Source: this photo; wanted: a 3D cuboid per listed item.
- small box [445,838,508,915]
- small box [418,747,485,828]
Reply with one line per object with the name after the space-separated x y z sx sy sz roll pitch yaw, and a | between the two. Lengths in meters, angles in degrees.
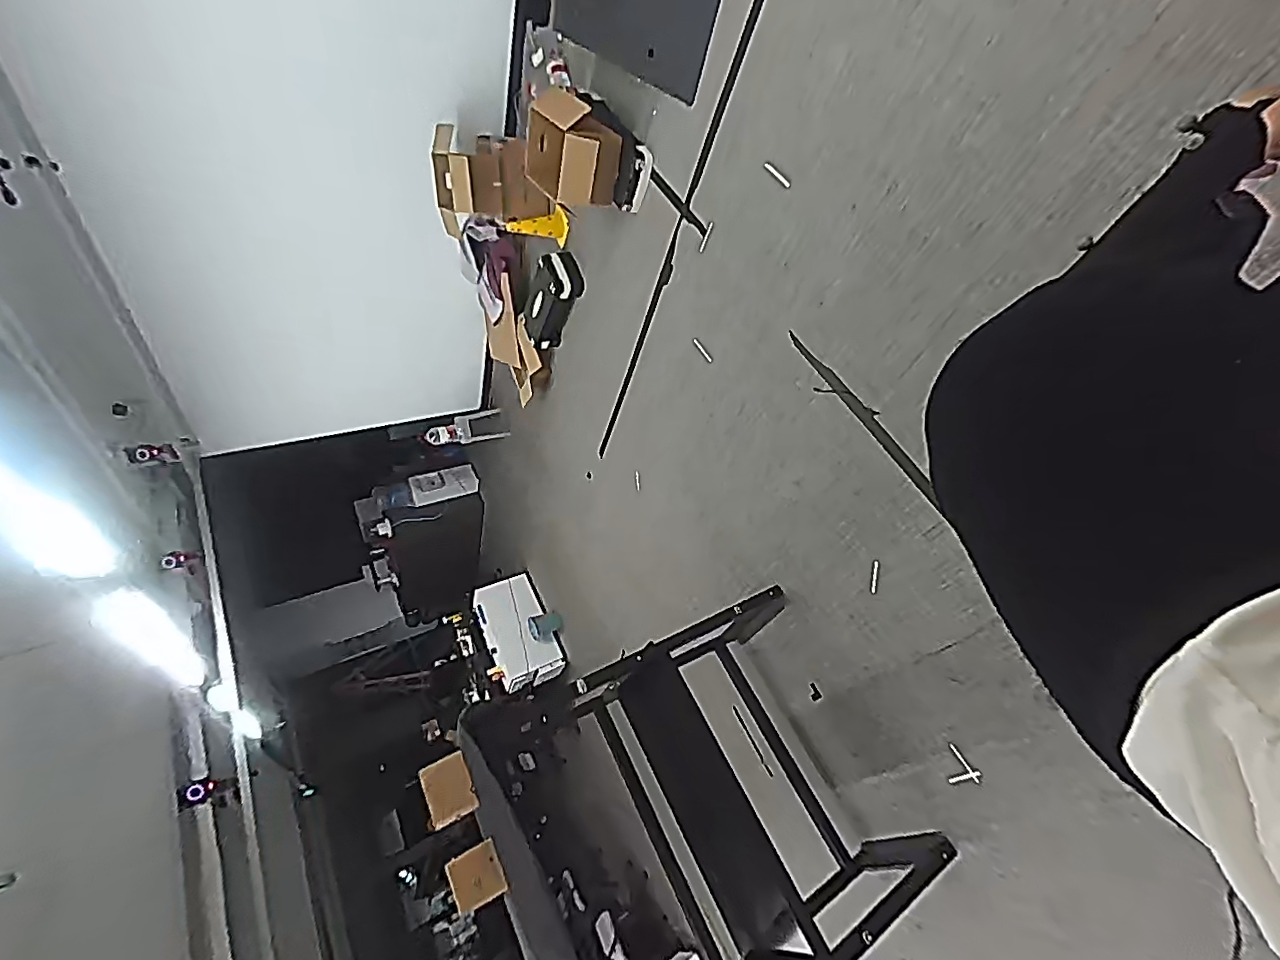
-0.583 1.408 1.926 0.168 0.176 0.179 58 146 26 | small box
-0.628 1.026 1.811 0.168 0.176 0.179 57 147 27 | small box
